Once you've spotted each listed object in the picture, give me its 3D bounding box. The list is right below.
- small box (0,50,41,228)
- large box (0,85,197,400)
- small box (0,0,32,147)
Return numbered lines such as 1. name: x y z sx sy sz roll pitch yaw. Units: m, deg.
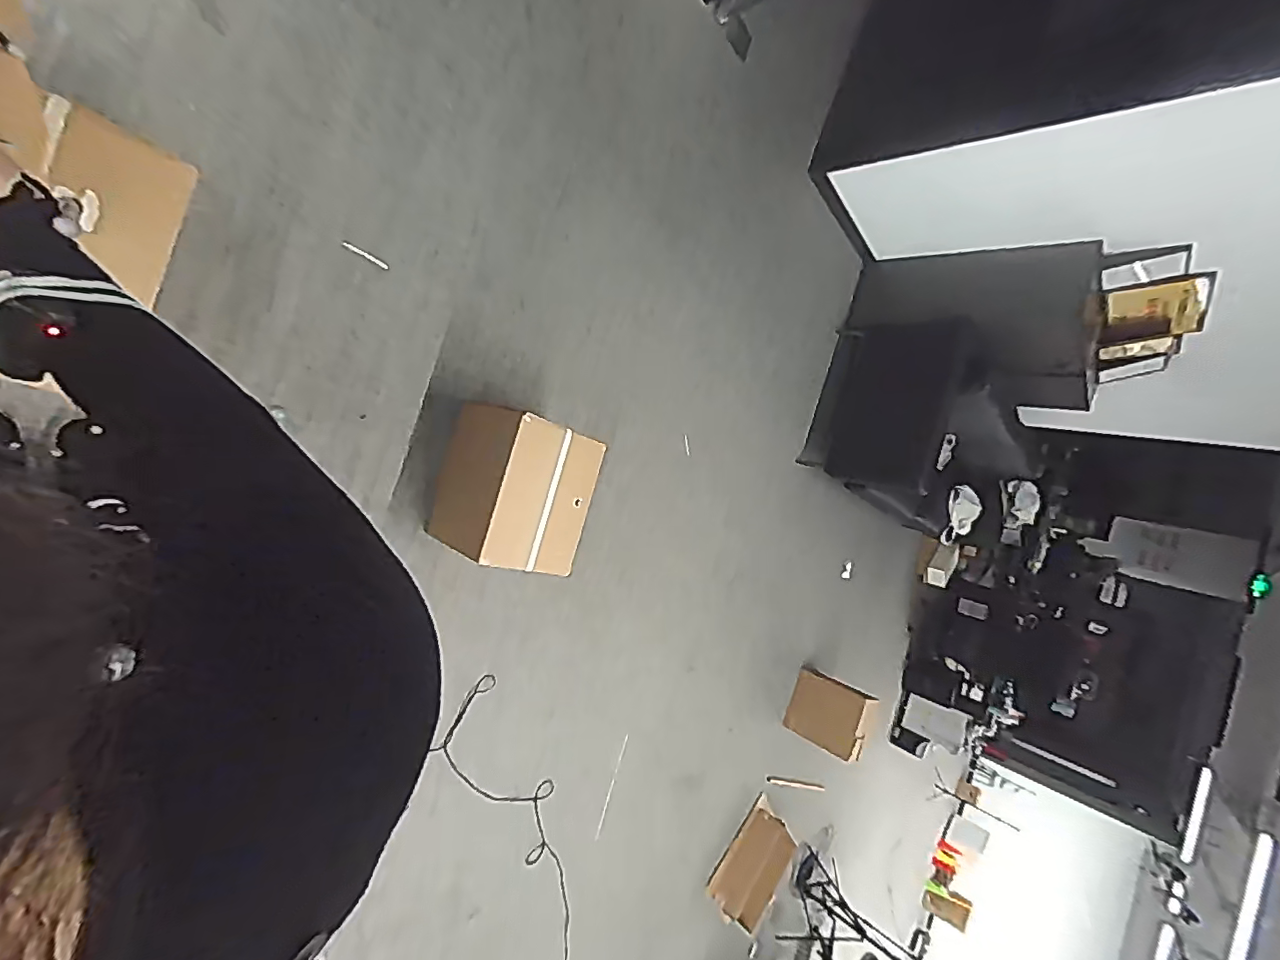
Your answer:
1. small box: -0.715 -0.367 0.513 0.168 0.176 0.179 18 88 -44
2. large box: -0.962 -0.368 0.852 0.320 0.320 0.408 19 86 -46
3. small box: -0.600 -0.343 0.398 0.168 0.176 0.179 21 87 -43
